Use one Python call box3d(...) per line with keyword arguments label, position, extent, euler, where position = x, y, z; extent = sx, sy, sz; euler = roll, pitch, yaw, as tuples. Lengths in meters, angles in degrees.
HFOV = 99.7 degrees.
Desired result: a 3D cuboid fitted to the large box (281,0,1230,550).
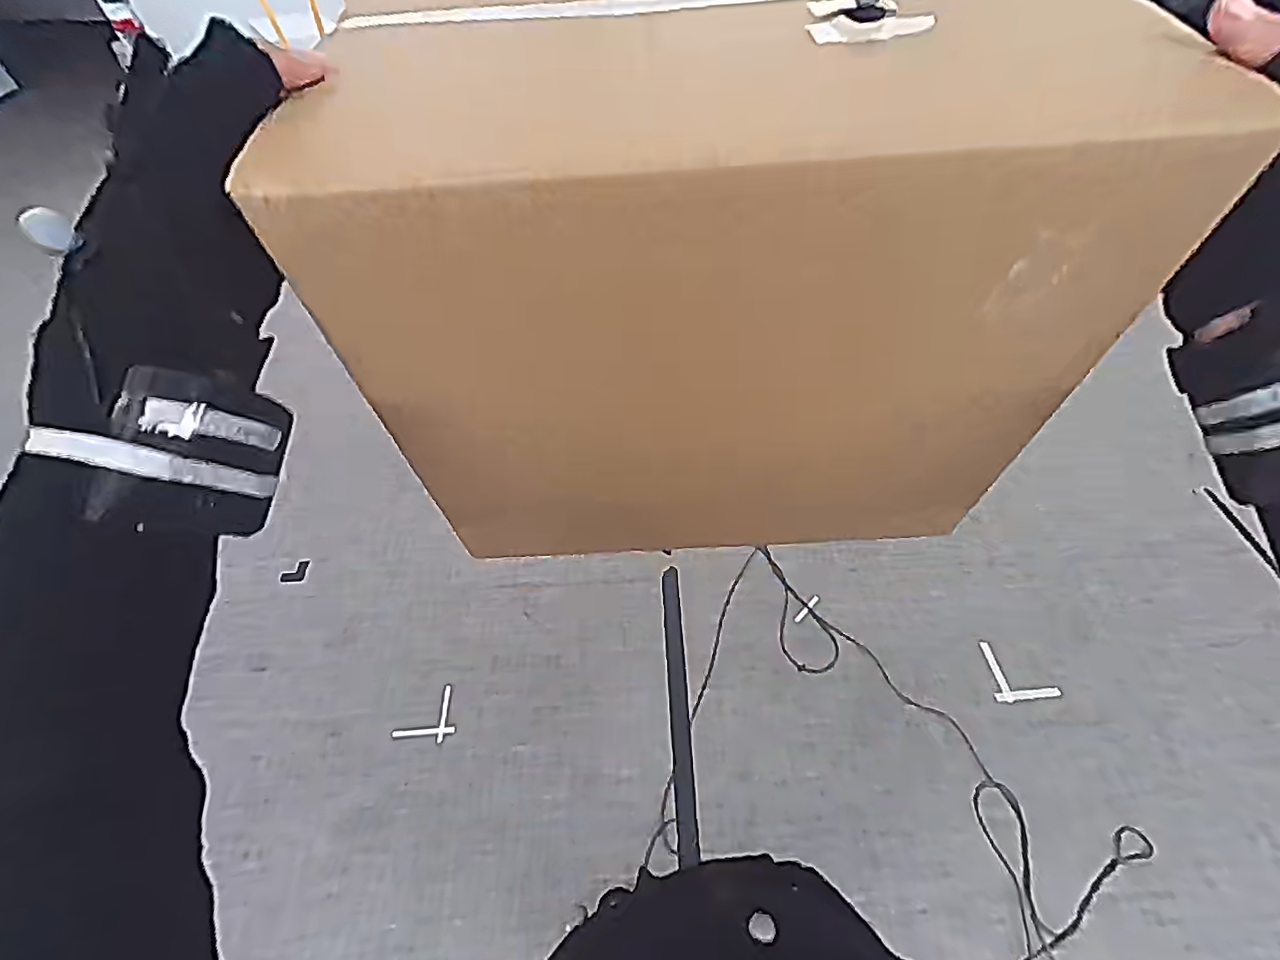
box3d(label="large box", position=(0.044, -0.161, 0.428), extent=(0.408, 0.320, 0.320), euler=(-3, 55, 0))
